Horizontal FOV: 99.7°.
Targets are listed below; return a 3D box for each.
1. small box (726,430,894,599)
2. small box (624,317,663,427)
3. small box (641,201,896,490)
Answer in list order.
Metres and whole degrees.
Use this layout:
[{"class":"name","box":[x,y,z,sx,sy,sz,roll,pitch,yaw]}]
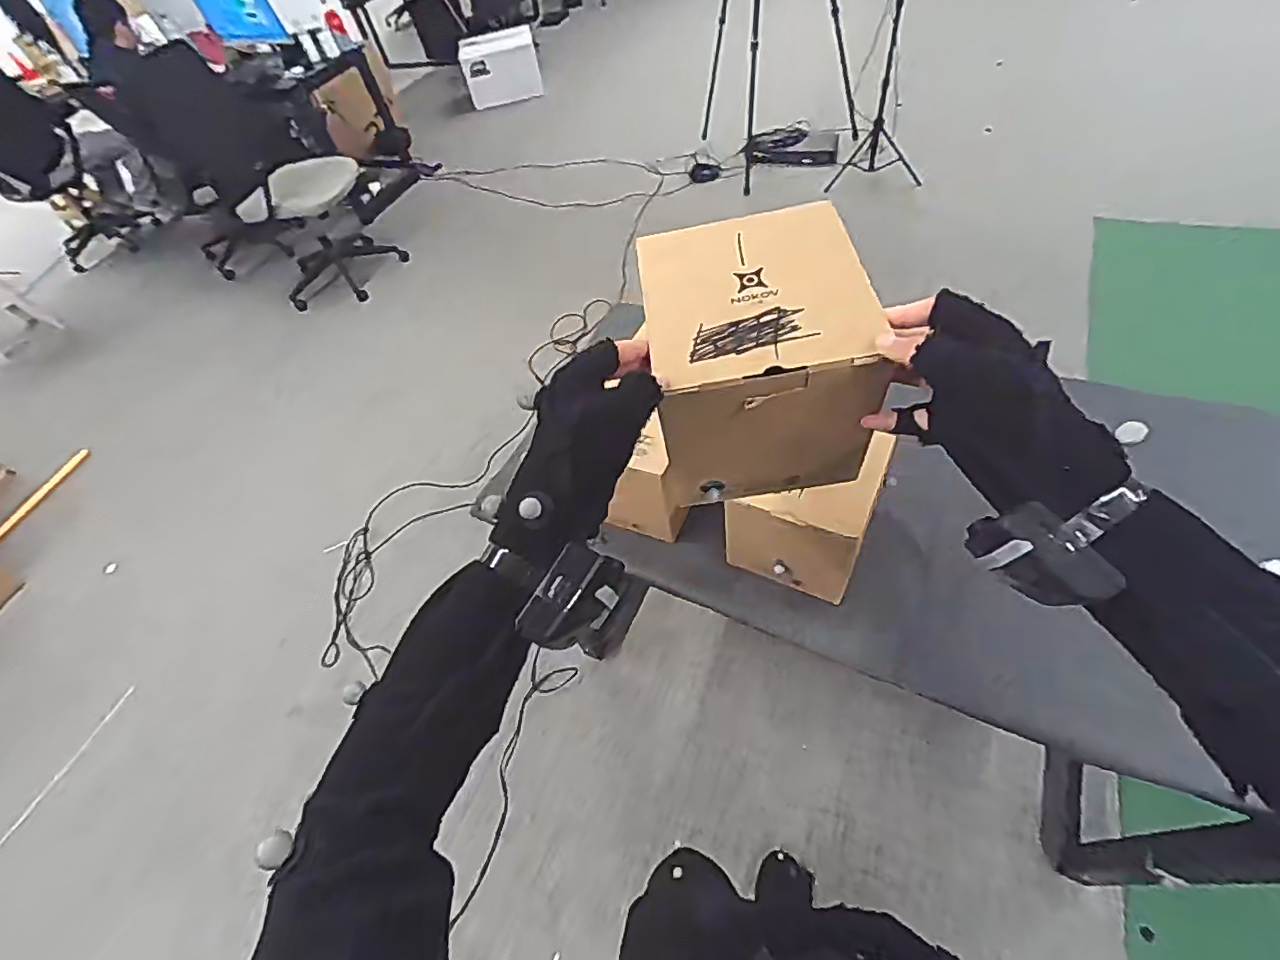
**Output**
[{"class":"small box","box":[0.226,0.031,0.744,0.168,0.176,0.179,20,59,23]},{"class":"small box","box":[0.092,-0.199,0.944,0.168,0.176,0.179,18,60,22]},{"class":"small box","box":[0.099,-0.103,0.474,0.168,0.176,0.179,-8,58,5]}]
